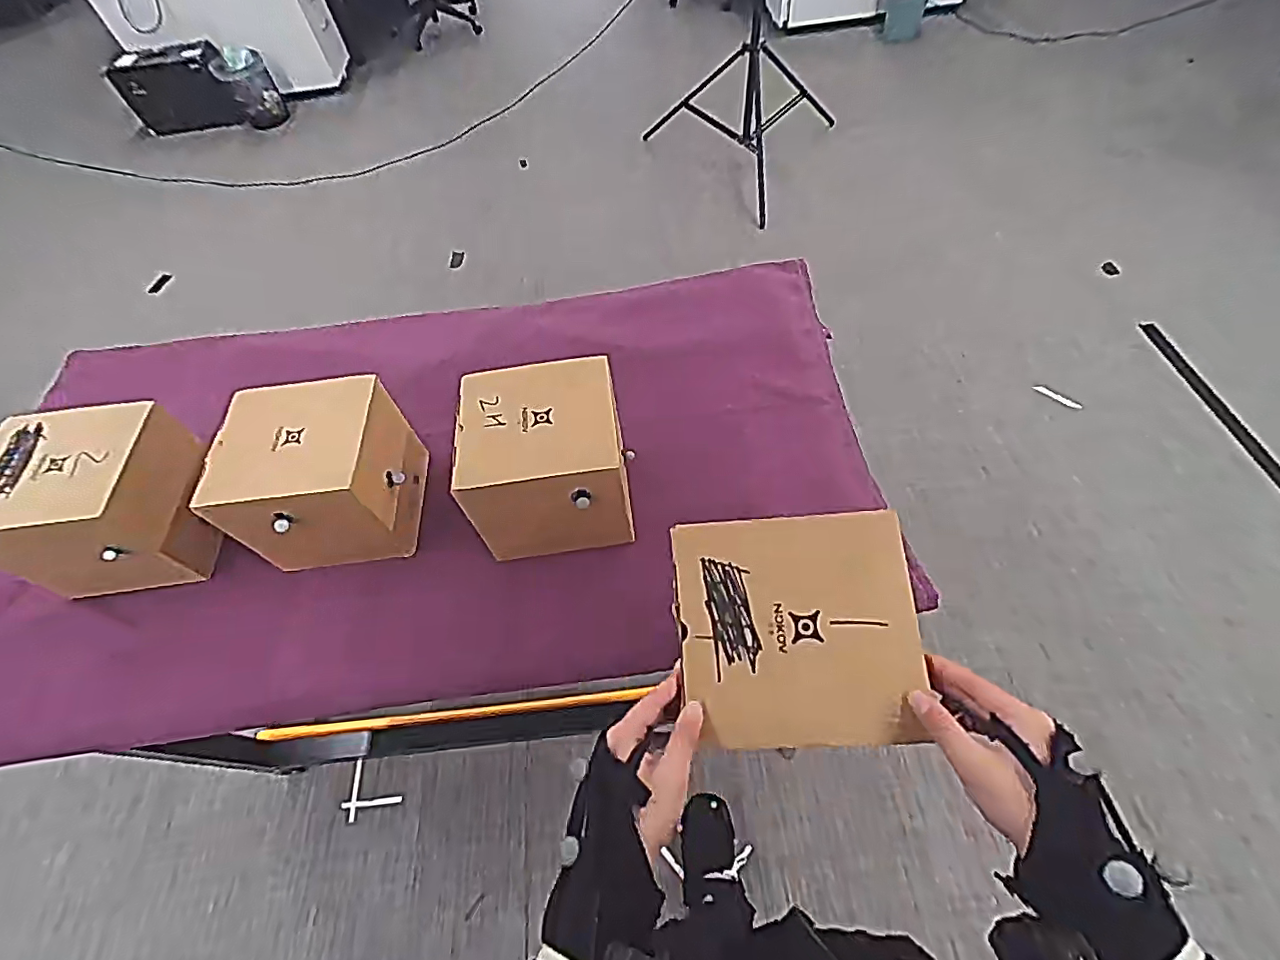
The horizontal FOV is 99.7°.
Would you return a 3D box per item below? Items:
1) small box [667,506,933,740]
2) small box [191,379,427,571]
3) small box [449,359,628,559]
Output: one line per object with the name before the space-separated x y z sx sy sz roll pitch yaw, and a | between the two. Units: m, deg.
small box | 0.123 0.127 0.475 0.179 0.176 0.168 -5 73 7
small box | -0.387 0.000 0.674 0.179 0.176 0.168 -8 57 1
small box | -0.109 -0.020 0.655 0.179 0.176 0.168 -8 55 0
